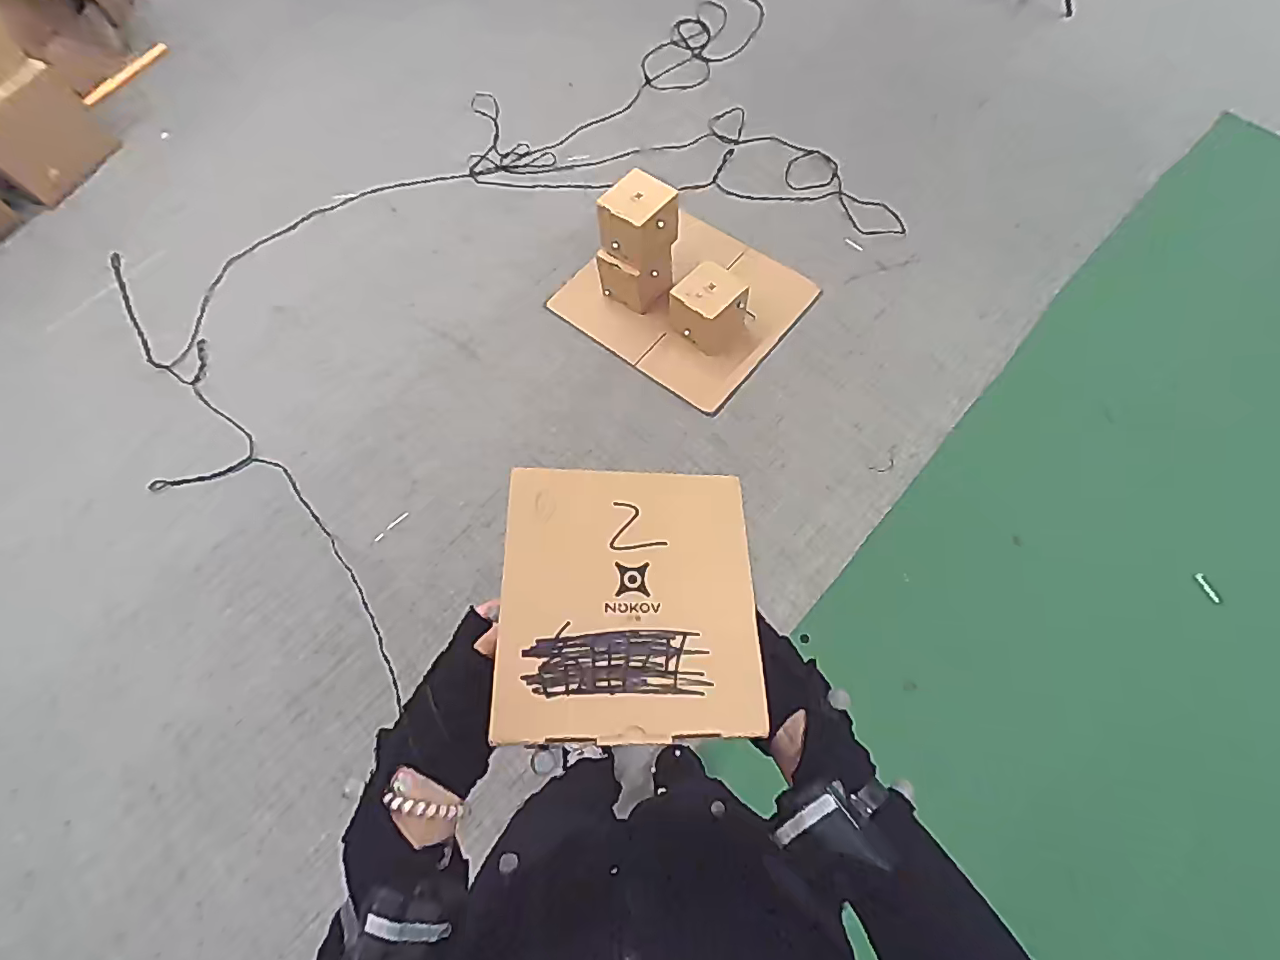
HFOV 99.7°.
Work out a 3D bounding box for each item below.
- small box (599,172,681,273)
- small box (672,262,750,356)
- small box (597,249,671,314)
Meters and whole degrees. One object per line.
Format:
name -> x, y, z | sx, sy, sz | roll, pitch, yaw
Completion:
small box -> 0.001, -0.751, 1.588 | 0.168, 0.176, 0.179 | 38, 74, 17
small box -> 0.212, -0.518, 1.654 | 0.168, 0.176, 0.179 | 41, 76, 19
small box -> -0.011, -0.668, 1.730 | 0.168, 0.176, 0.179 | 35, 73, 17
